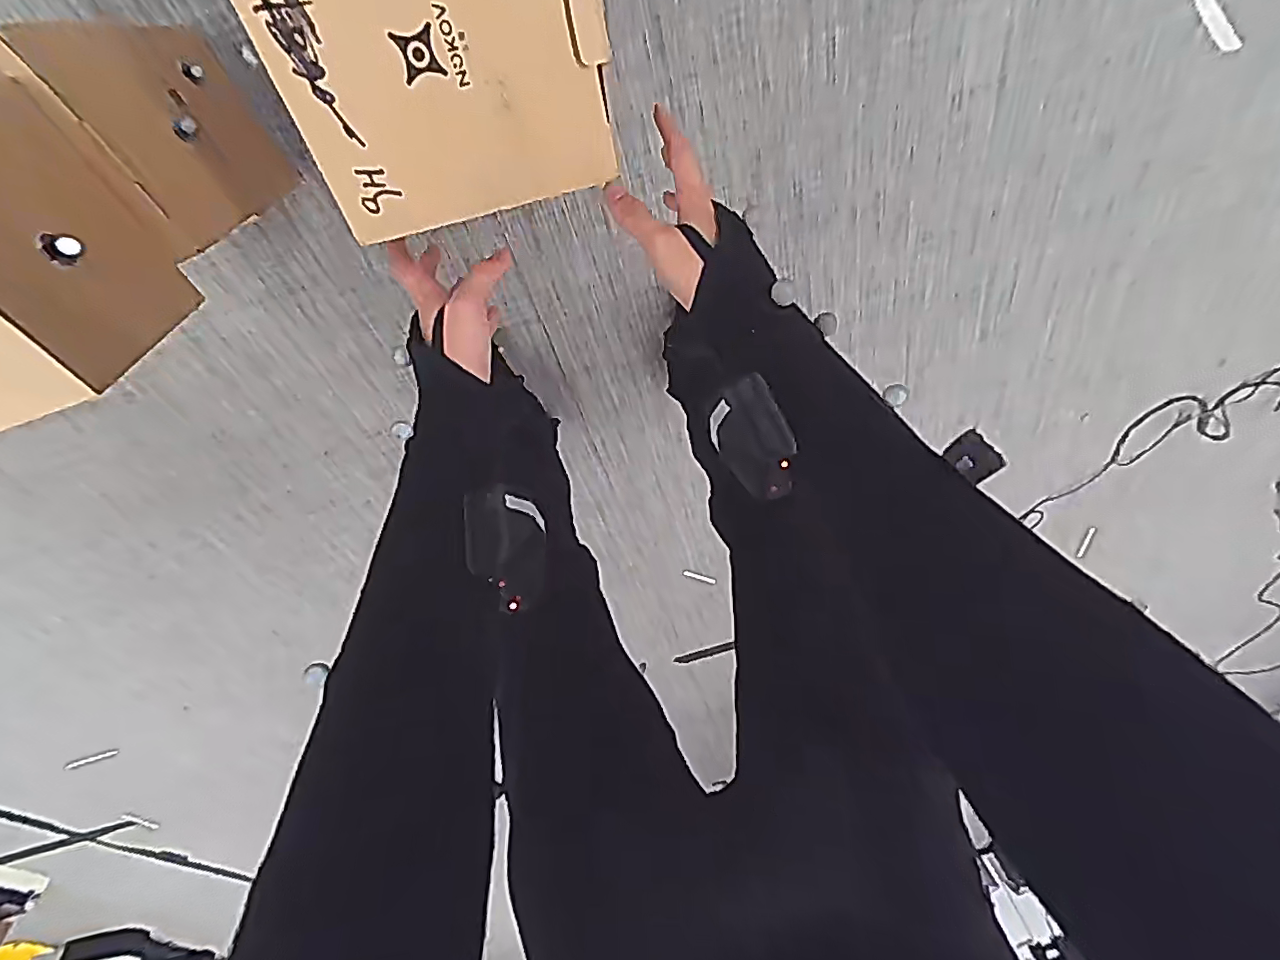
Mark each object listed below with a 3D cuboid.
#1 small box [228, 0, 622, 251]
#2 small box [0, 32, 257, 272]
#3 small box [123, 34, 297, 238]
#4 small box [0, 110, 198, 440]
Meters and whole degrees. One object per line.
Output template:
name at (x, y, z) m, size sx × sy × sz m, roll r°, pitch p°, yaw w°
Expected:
small box at (-0.124, -0.276, 0.349) m, size 0.179 × 0.176 × 0.168 m, roll -15°, pitch 131°, yaw -1°
small box at (-0.502, -0.270, 0.489) m, size 0.179 × 0.176 × 0.168 m, roll -21°, pitch 132°, yaw 7°
small box at (-0.541, -0.370, 0.614) m, size 0.168 × 0.176 × 0.179 m, roll -20°, pitch 132°, yaw 6°
small box at (-0.484, -0.142, 0.384) m, size 0.168 × 0.176 × 0.179 m, roll -17°, pitch 133°, yaw 5°
